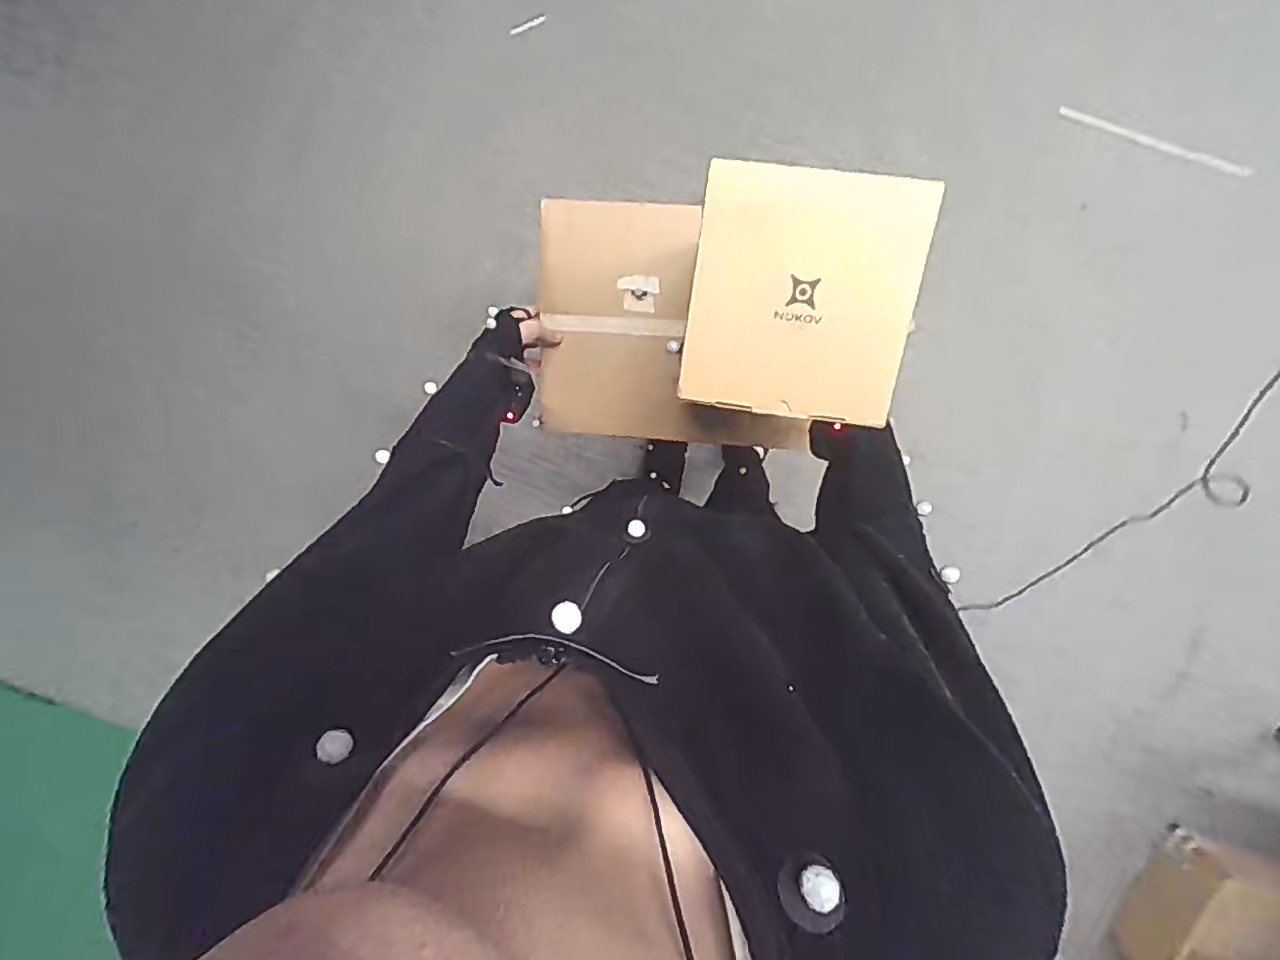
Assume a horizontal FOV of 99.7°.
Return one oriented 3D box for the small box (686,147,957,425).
[{"bbox_3d":[0.133,-0.158,0.472,0.168,0.176,0.179,9,107,3],"label":"small box"}]
